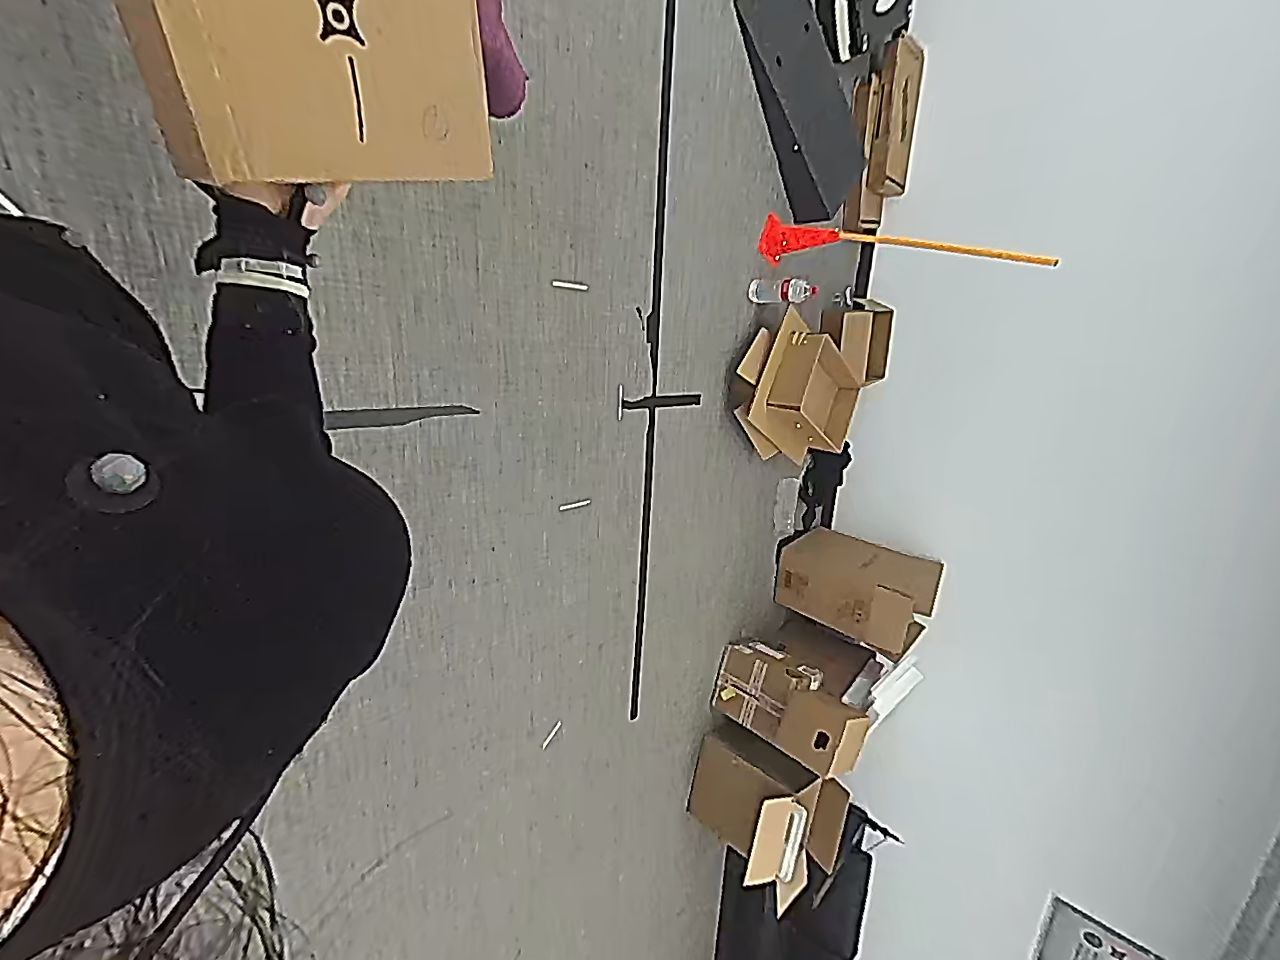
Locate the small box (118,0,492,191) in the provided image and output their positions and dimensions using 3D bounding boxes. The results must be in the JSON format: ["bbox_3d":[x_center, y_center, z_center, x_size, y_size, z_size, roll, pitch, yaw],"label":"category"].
[{"bbox_3d":[-0.218,-0.287,0.346,0.168,0.176,0.179,-24,129,-35],"label":"small box"}]
